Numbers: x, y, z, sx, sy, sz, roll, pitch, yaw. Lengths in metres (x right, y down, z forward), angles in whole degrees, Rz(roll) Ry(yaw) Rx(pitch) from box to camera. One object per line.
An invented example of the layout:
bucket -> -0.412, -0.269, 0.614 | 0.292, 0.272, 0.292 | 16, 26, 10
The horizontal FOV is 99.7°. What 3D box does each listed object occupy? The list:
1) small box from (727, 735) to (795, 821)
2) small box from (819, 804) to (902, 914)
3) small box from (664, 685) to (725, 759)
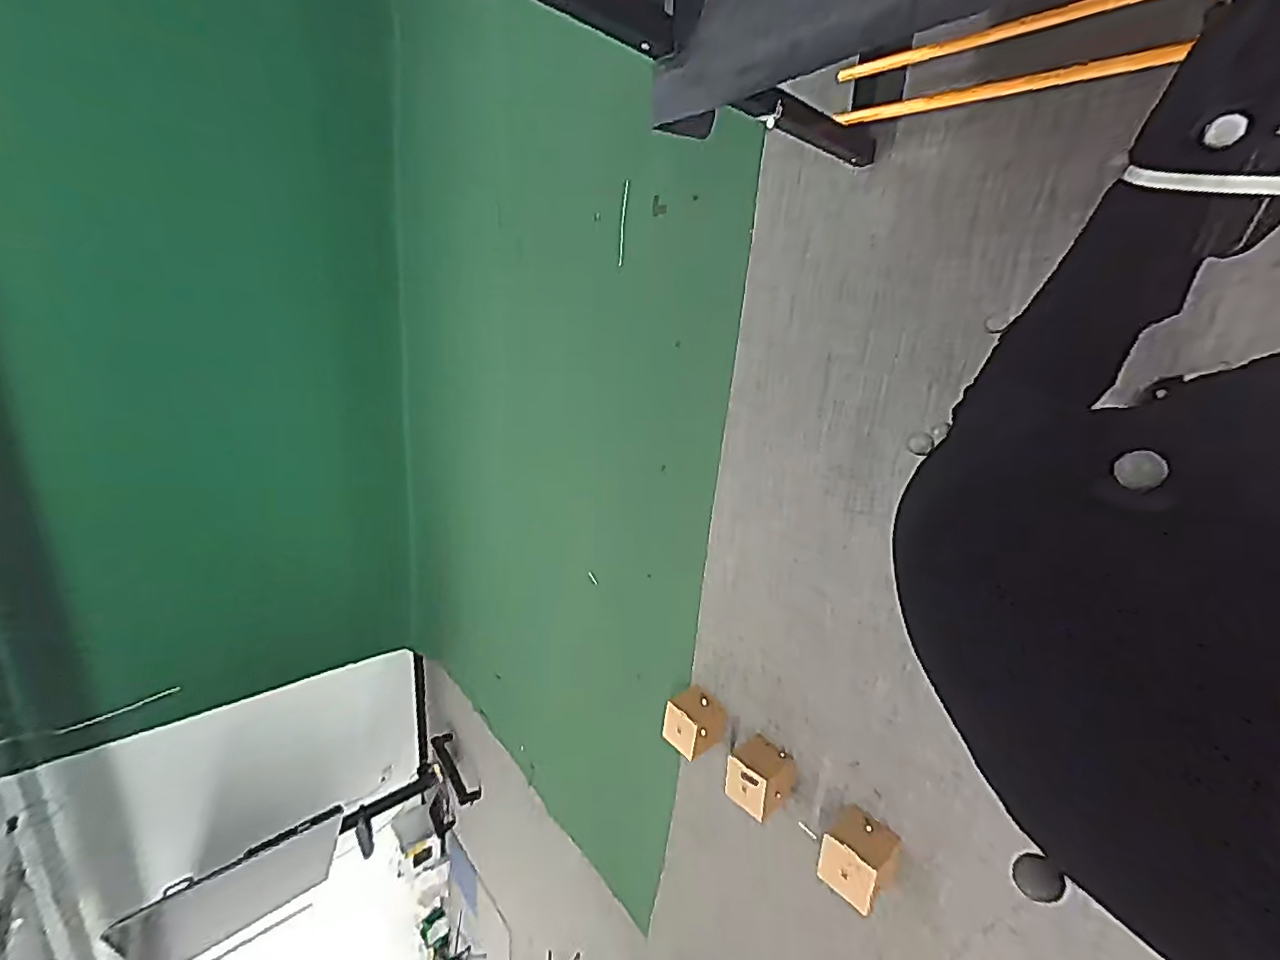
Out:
small box -> 0.431, 1.045, 1.916 | 0.168, 0.176, 0.179 | 18, 111, 46
small box -> 0.677, 1.149, 1.652 | 0.168, 0.176, 0.179 | 20, 112, 44
small box -> 0.219, 0.954, 2.143 | 0.168, 0.176, 0.179 | 24, 115, 43
